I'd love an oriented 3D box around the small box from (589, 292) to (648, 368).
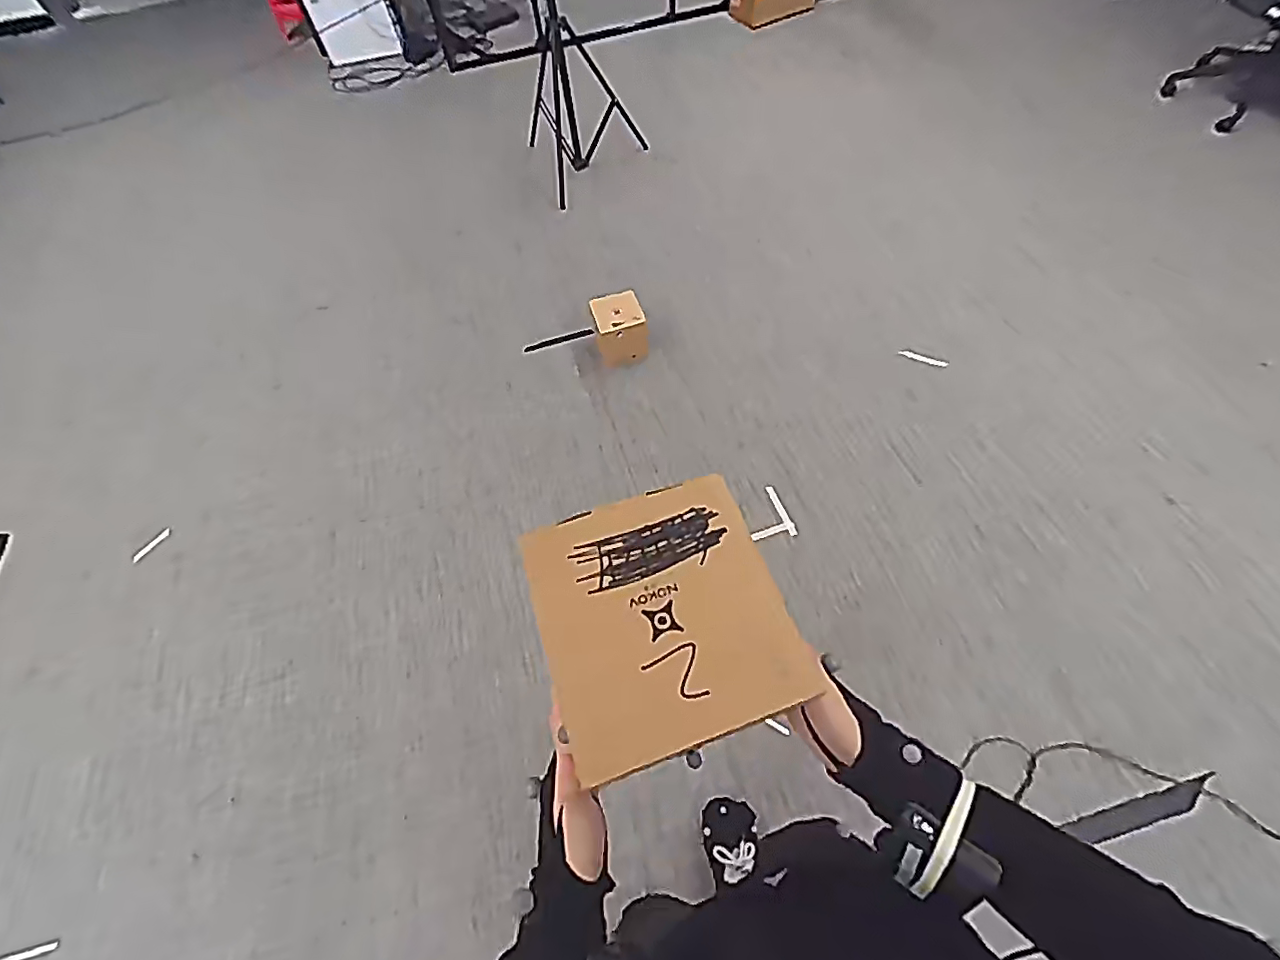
[{"bbox_3d":[-0.074,-0.534,1.934,0.168,0.176,0.179,-17,58,-5],"label":"small box"}]
